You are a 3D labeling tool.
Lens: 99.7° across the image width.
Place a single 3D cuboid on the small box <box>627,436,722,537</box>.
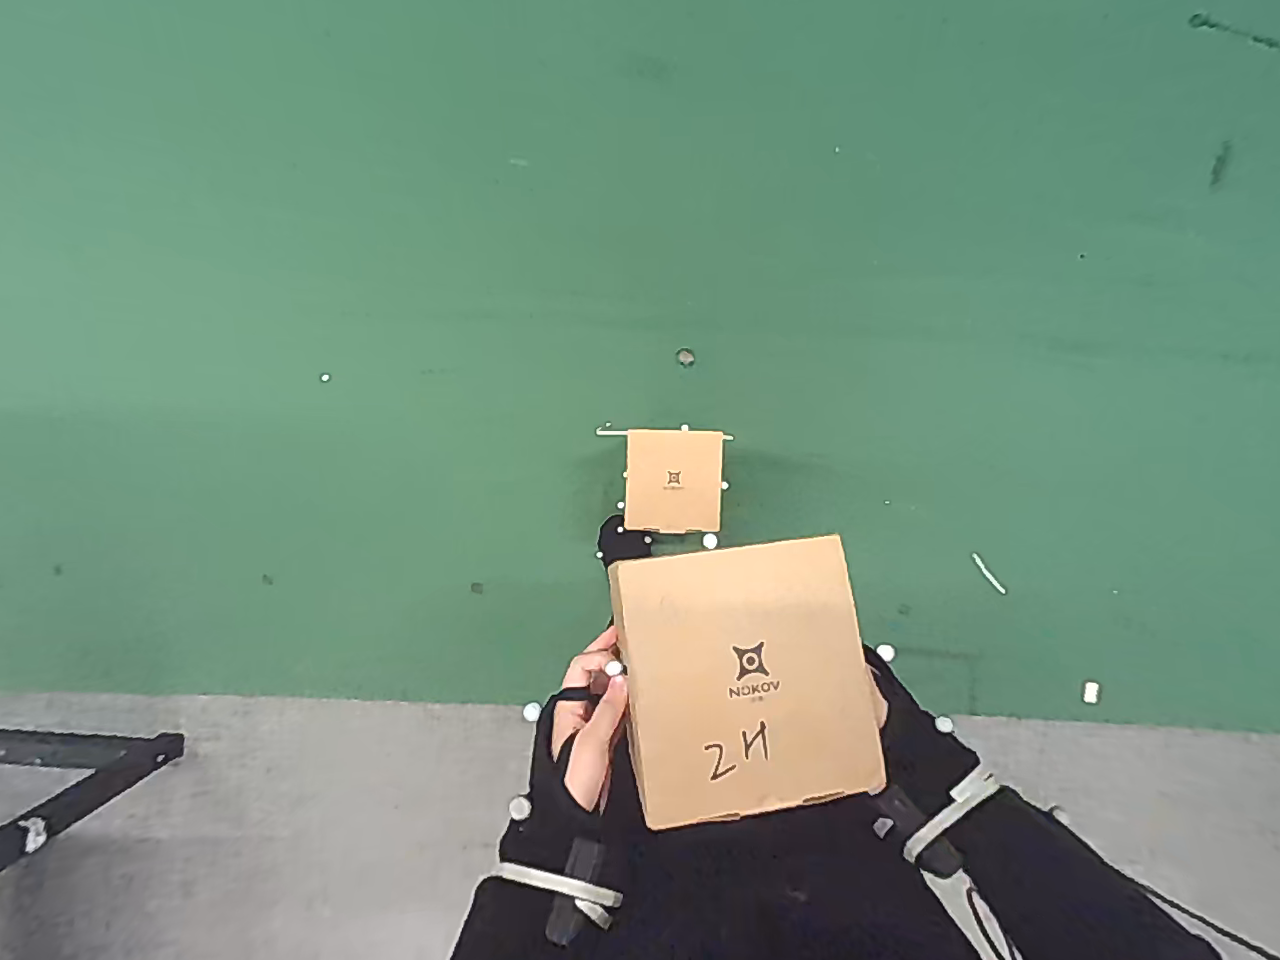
[{"bbox_3d":[0.059,0.009,1.013,0.168,0.176,0.179,1,92,1],"label":"small box"}]
